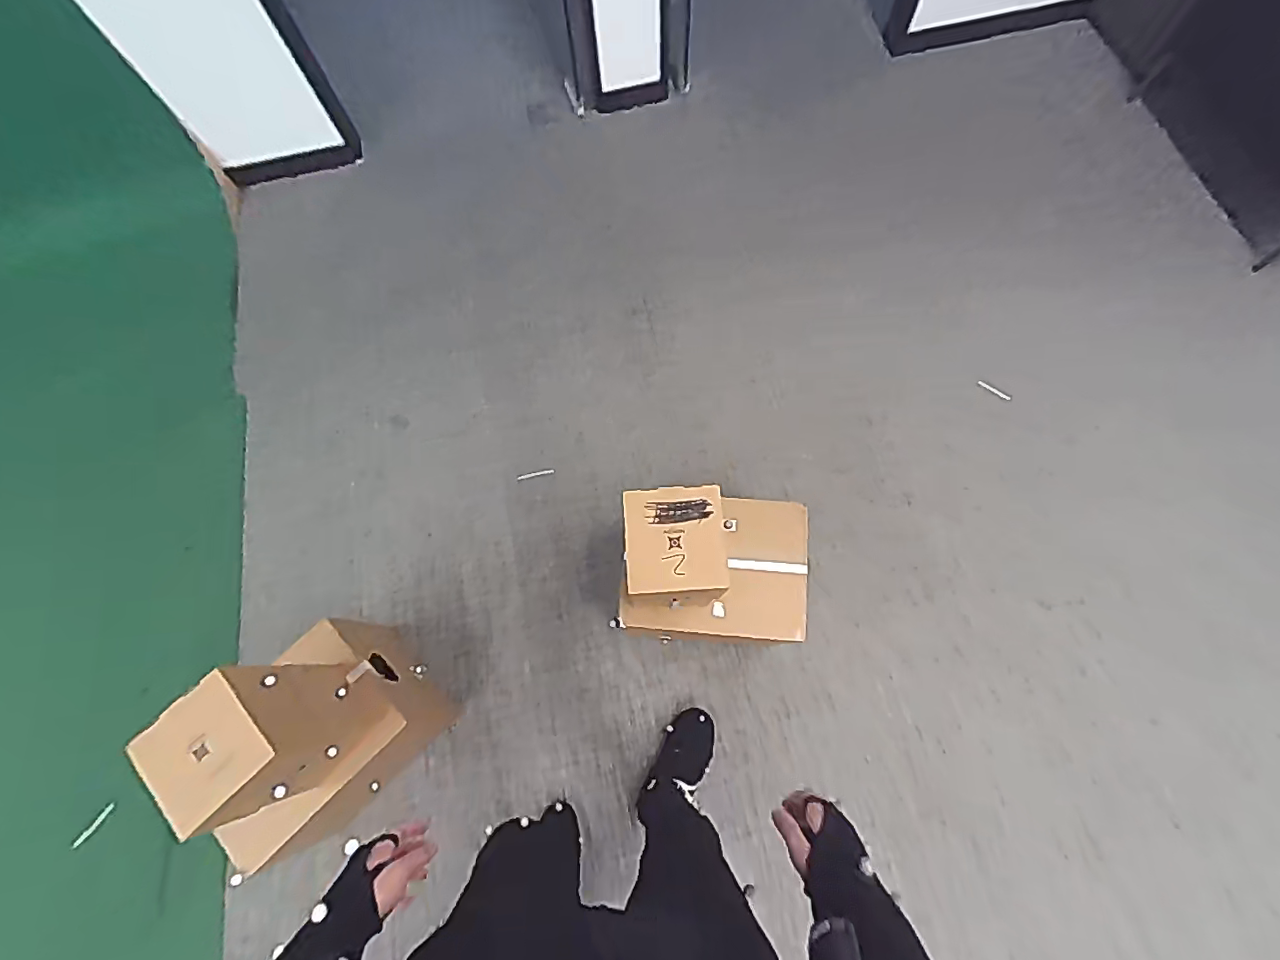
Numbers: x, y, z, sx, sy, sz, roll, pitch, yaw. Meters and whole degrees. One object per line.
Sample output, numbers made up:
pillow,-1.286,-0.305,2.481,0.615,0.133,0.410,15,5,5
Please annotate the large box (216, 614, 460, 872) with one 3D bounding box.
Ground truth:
large box,-0.712,0.574,1.266,0.320,0.320,0.408,42,79,16

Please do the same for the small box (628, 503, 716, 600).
small box,0.064,0.155,1.117,0.168,0.176,0.179,-3,72,1

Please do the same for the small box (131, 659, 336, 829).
small box,-0.650,0.417,0.885,0.168,0.176,0.179,-43,76,-11

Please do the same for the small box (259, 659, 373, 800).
small box,-0.650,0.465,1.040,0.168,0.176,0.179,42,78,15
